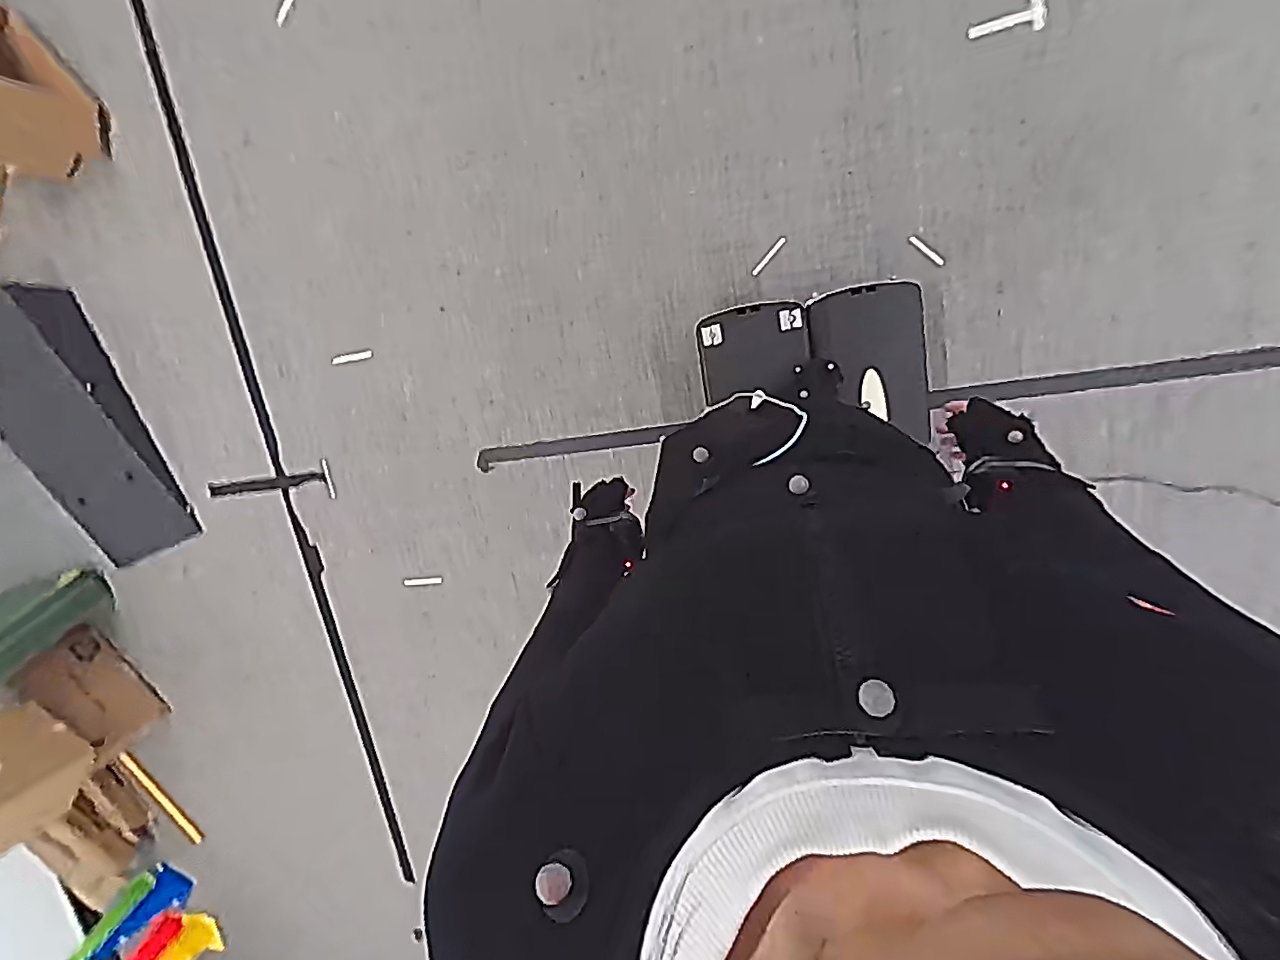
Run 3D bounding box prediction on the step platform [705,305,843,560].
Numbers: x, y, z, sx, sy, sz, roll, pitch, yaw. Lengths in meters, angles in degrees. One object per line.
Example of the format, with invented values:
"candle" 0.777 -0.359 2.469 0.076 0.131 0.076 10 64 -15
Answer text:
"step platform" 0.368 -0.122 1.489 0.286 0.204 0.684 -9 100 13
